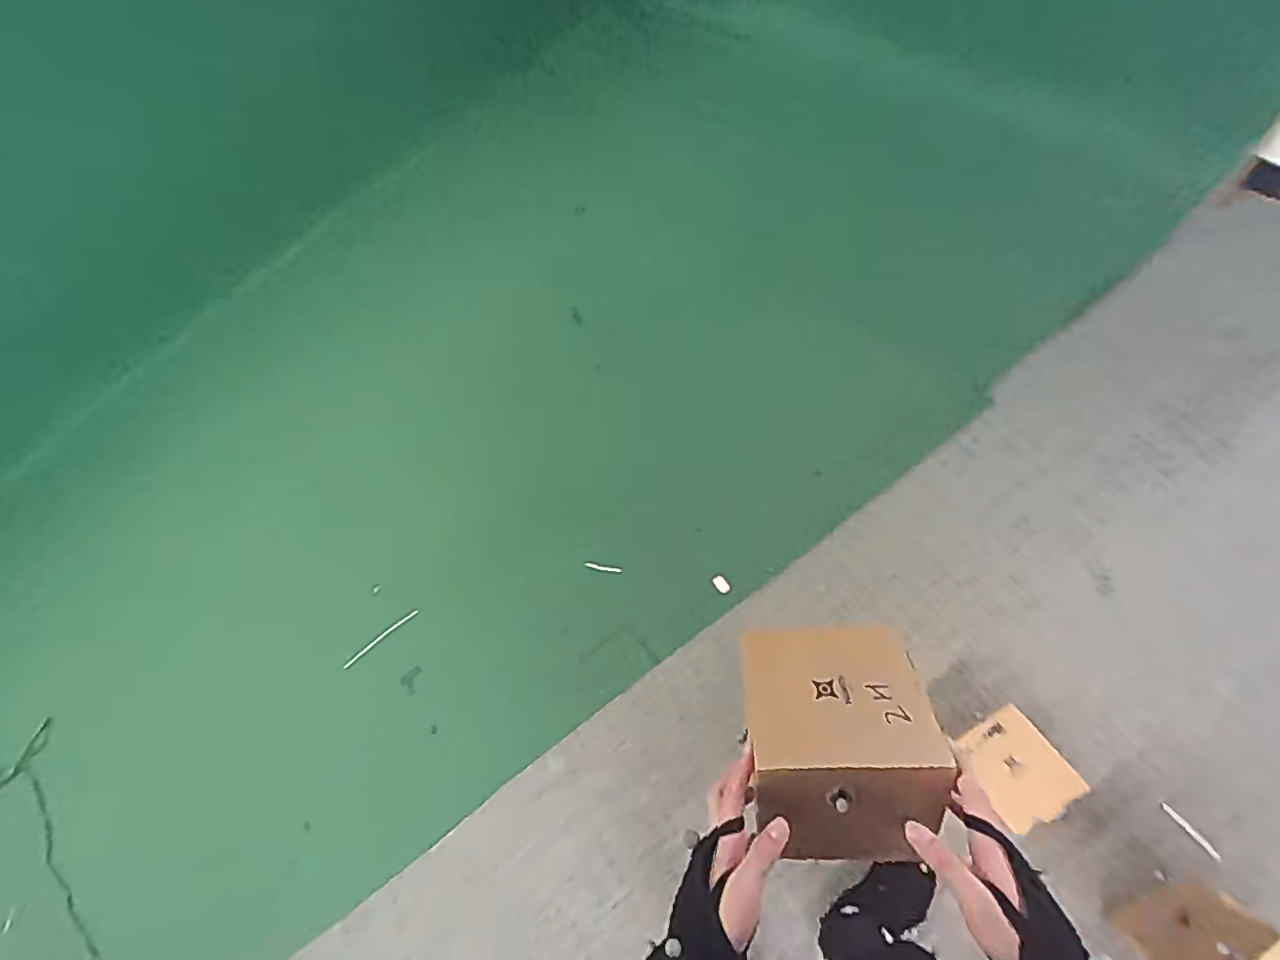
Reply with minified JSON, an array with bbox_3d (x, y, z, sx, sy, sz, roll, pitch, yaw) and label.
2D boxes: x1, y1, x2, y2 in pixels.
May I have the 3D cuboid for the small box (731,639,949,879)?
[{"bbox_3d":[0.196,0.294,0.575,0.179,0.176,0.168,-5,30,7],"label":"small box"}]

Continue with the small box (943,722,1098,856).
[{"bbox_3d":[0.753,0.613,1.095,0.168,0.176,0.179,-35,59,1],"label":"small box"}]

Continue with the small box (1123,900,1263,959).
[{"bbox_3d":[0.973,0.841,0.897,0.168,0.176,0.179,-37,59,1],"label":"small box"}]
